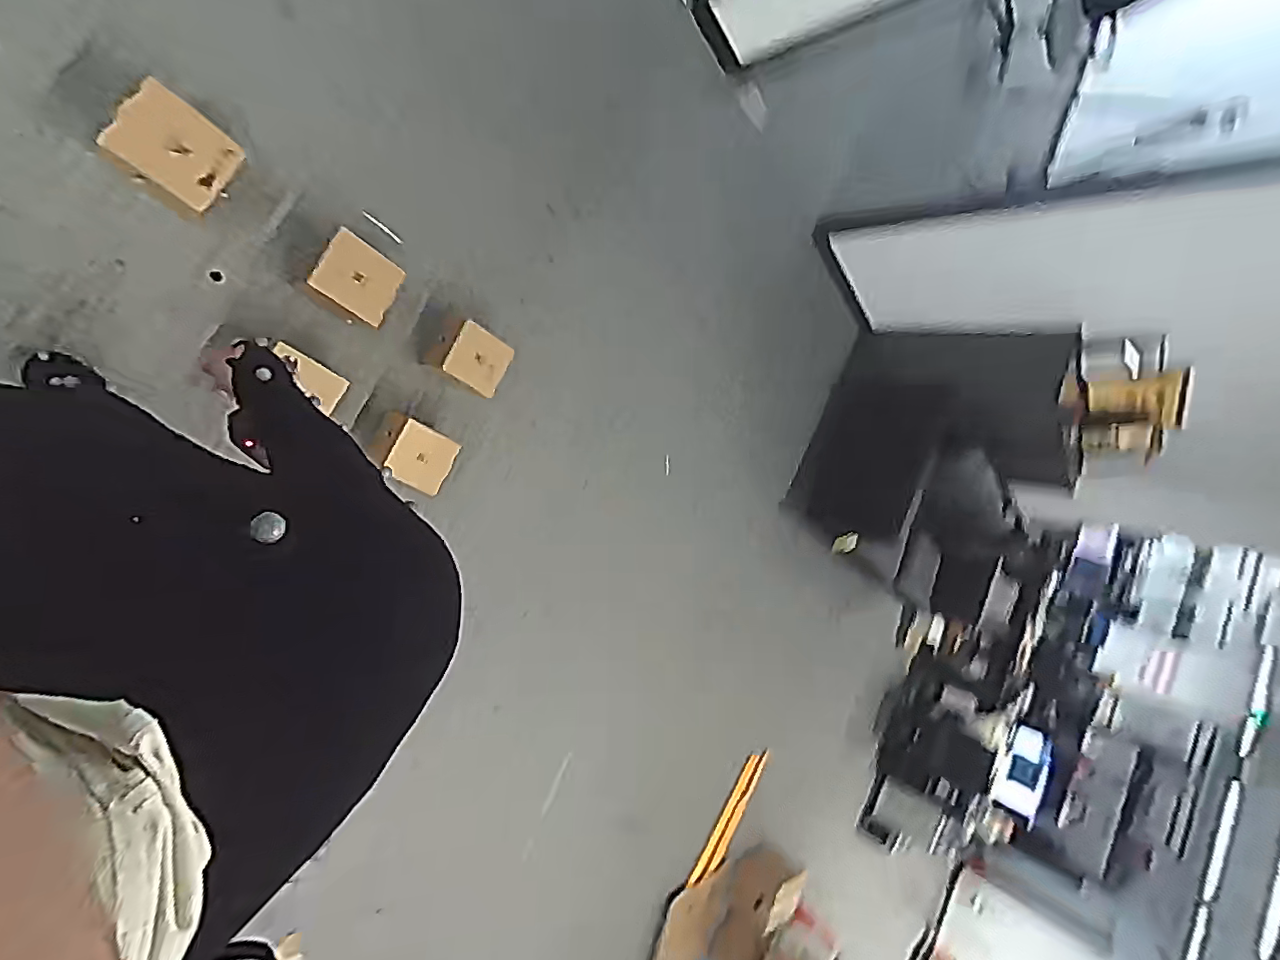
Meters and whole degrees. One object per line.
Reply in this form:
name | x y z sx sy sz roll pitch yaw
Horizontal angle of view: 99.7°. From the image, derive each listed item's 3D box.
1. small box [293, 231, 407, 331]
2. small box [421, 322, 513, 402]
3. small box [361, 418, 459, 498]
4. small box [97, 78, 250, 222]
small box | -0.736 -0.498 1.371 0.179 0.176 0.168 36 75 -43
small box | -0.521 -0.351 1.617 0.179 0.176 0.168 34 77 -44
small box | -0.668 -0.067 1.559 0.179 0.176 0.168 35 77 -45
small box | -0.955 -0.663 1.111 0.179 0.176 0.168 39 74 -42
